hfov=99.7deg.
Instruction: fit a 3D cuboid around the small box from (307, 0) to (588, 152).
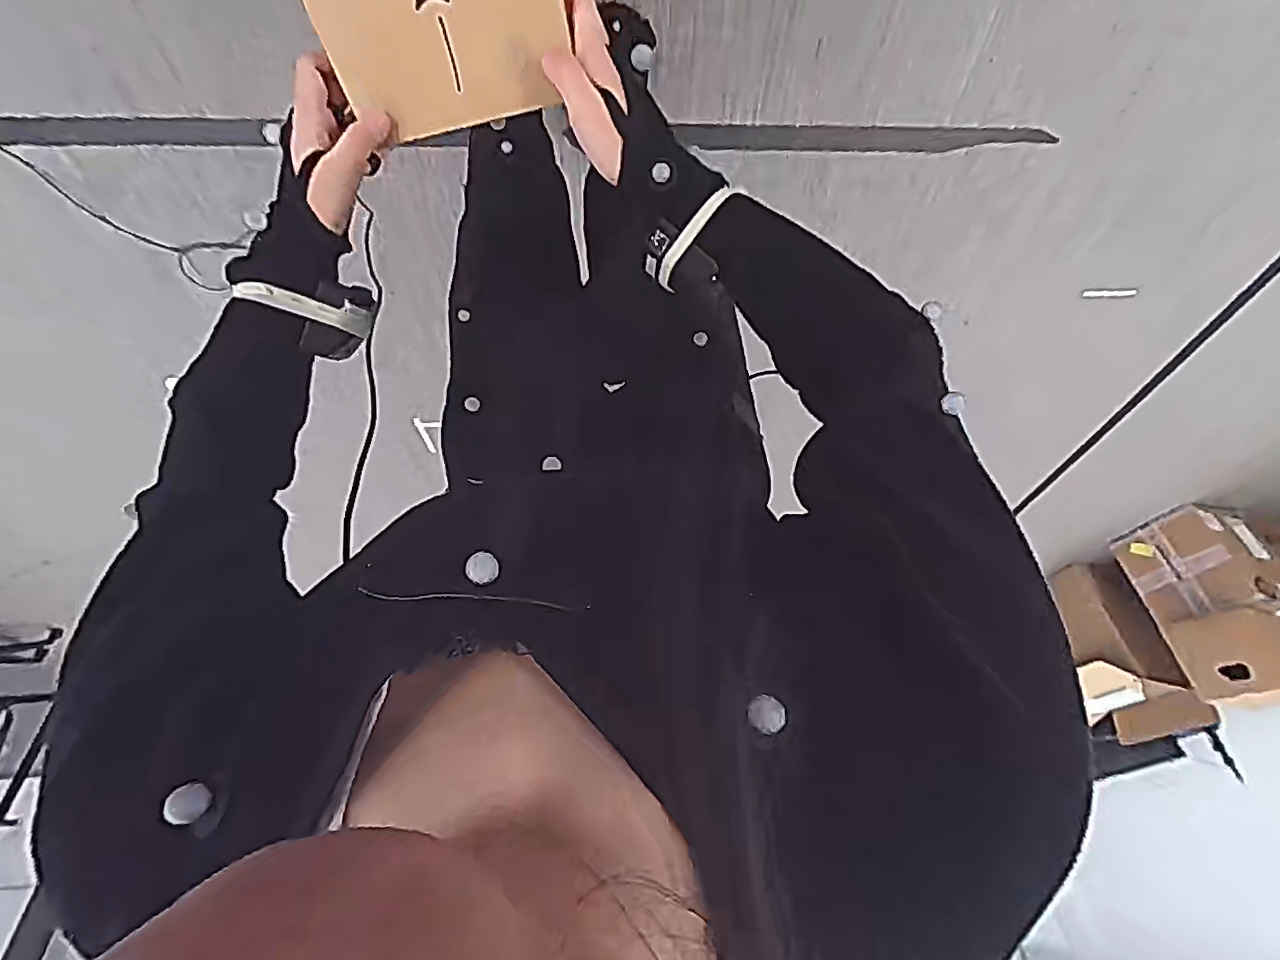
[{"bbox_3d":[-0.138,-0.374,0.404,0.168,0.176,0.179,-9,131,6],"label":"small box"}]
